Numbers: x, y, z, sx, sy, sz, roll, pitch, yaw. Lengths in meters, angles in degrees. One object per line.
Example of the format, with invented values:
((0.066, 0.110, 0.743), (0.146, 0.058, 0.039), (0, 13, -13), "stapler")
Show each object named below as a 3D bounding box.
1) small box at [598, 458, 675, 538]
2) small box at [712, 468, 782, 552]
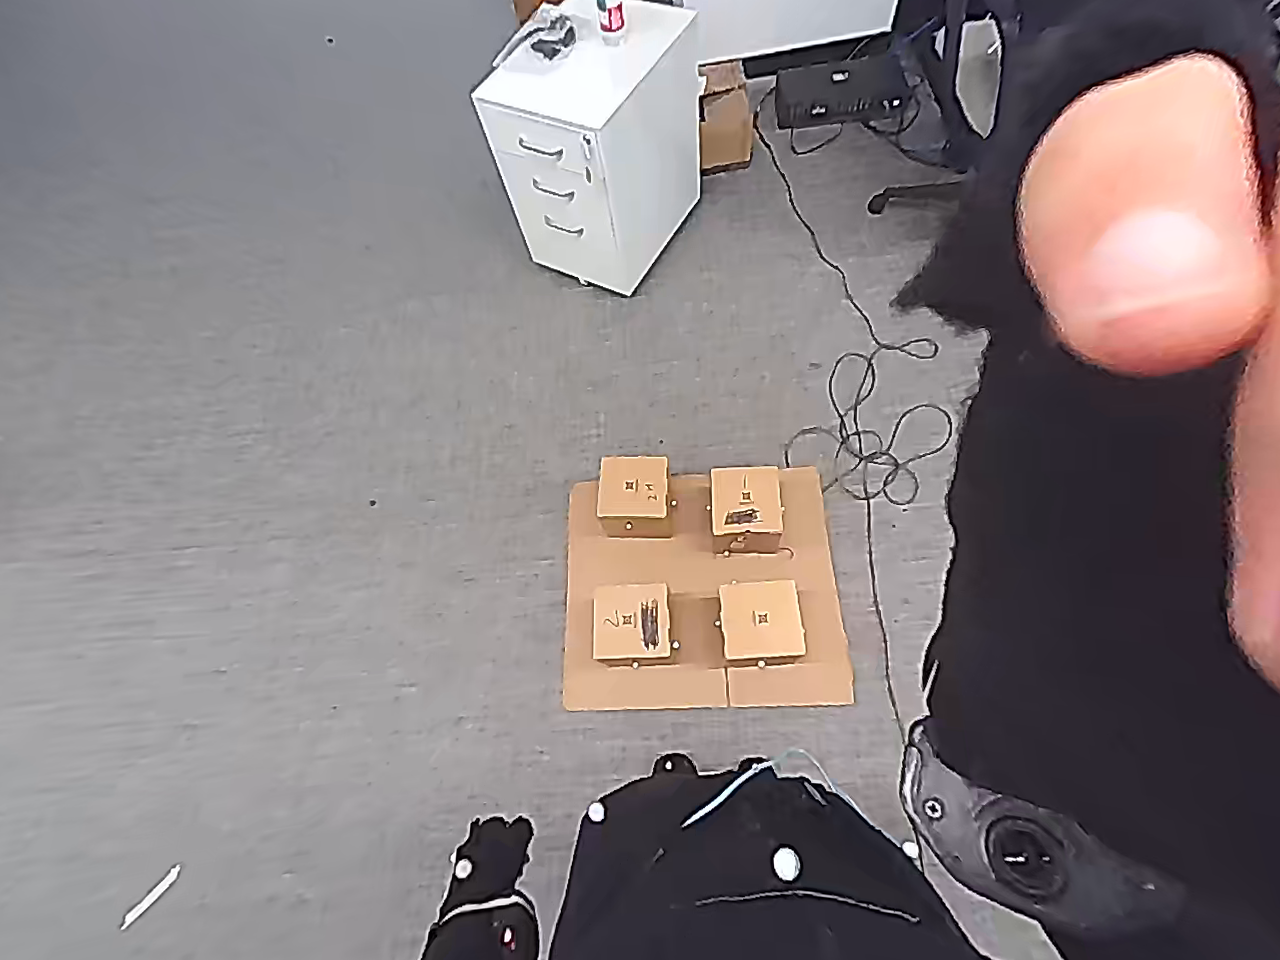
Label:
((-0.002, 0.052, 1.434), (0.179, 0.176, 0.168), (0, 67, 8), "small box")
((0.272, 0.083, 1.386), (0.168, 0.176, 0.179), (-2, 65, 9), "small box")
